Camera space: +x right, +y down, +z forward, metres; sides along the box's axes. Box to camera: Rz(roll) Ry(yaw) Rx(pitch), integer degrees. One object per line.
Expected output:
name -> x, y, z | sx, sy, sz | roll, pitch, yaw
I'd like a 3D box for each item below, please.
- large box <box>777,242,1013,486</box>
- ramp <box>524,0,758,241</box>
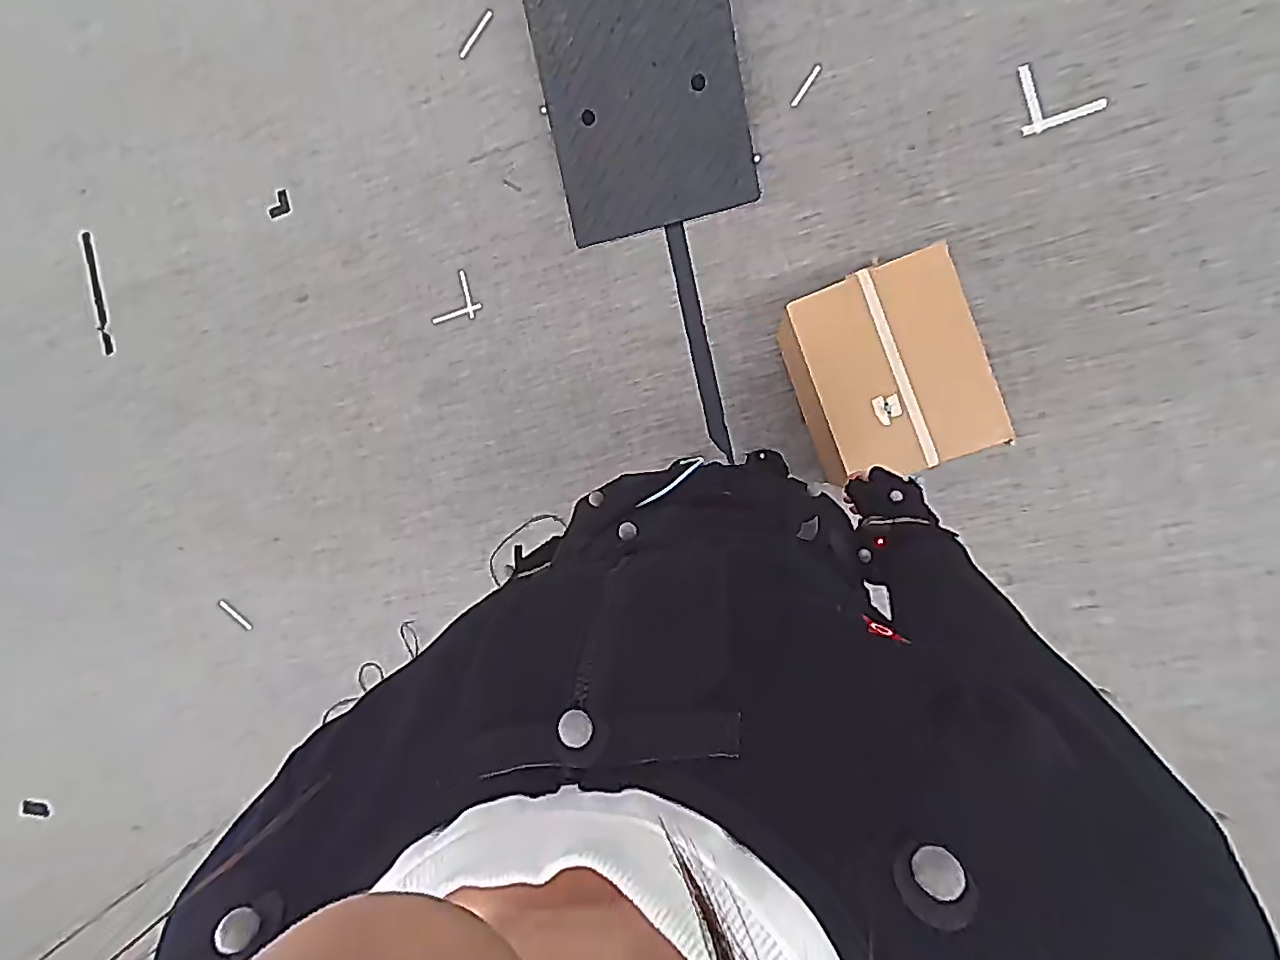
large box -> 0.528, -0.232, 1.204 | 0.320, 0.320, 0.408 | -20, 90, 11
ramp -> -0.035, -1.159, 1.315 | 0.509, 0.206, 0.991 | -12, 91, 10
